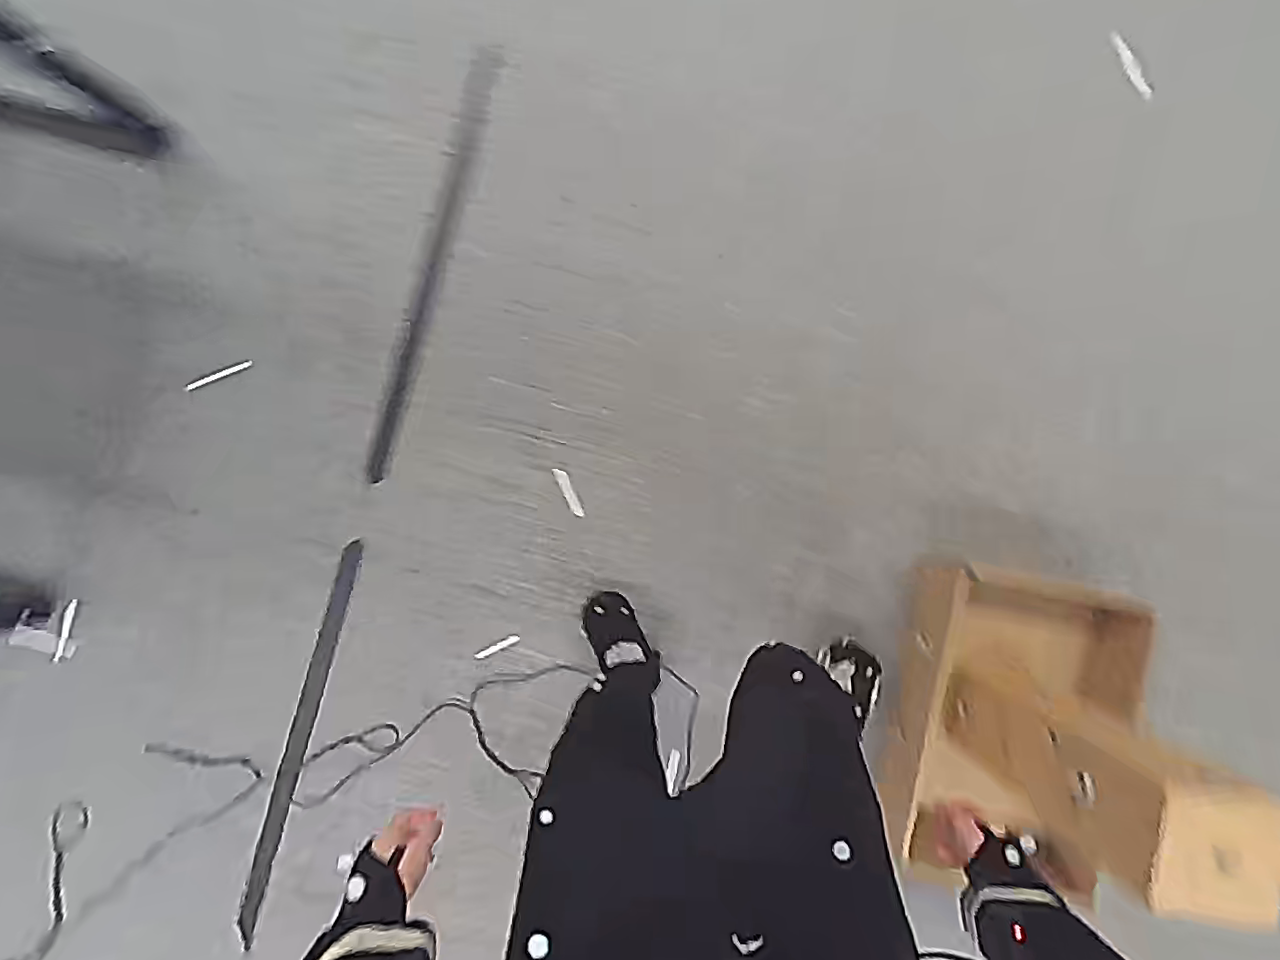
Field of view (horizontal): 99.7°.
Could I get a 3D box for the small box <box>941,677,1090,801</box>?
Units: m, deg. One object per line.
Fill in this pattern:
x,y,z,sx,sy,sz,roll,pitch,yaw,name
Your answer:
0.767,0.528,1.120,0.179,0.176,0.168,11,90,0,small box
